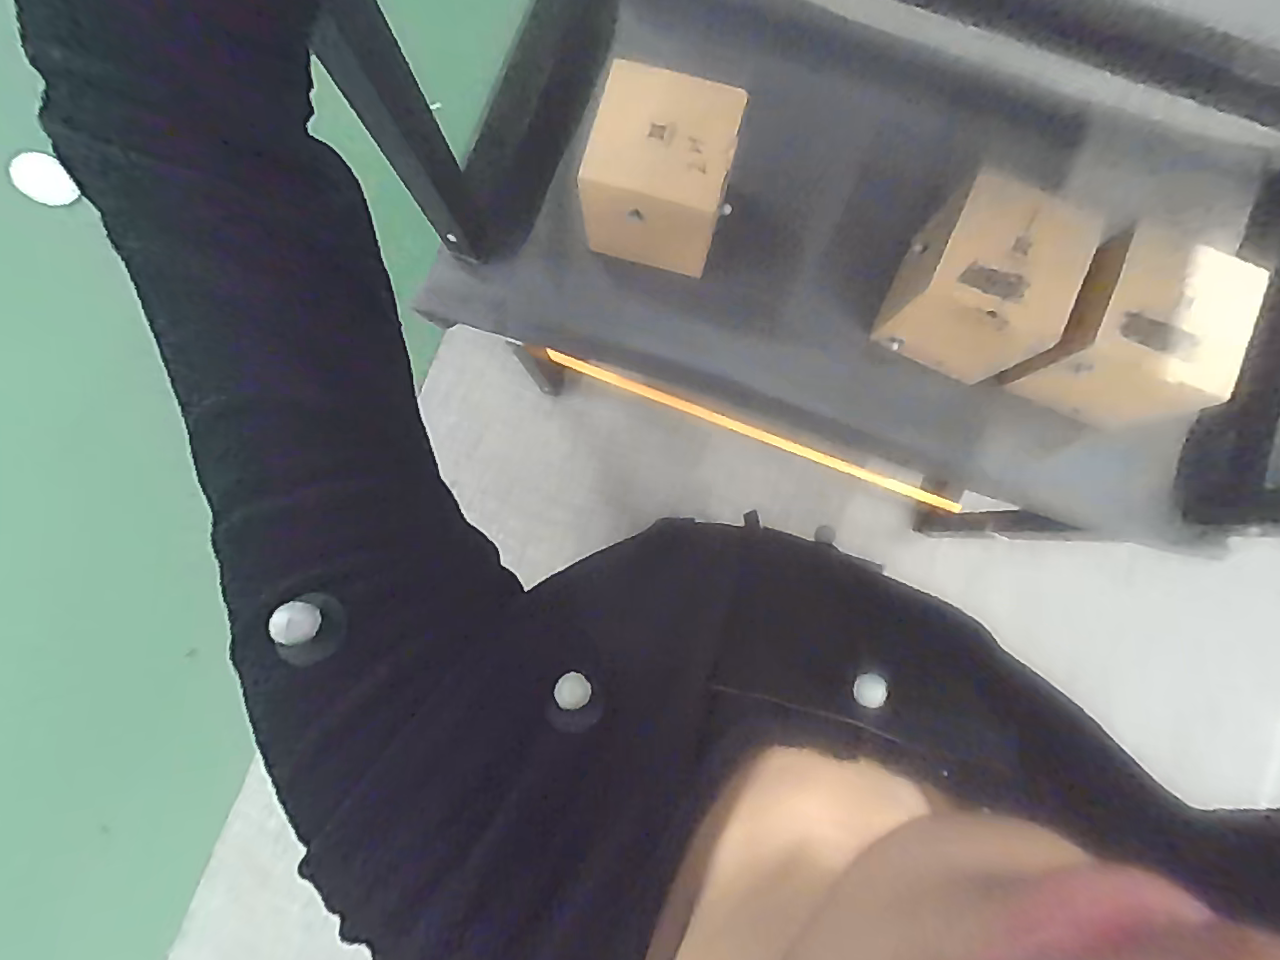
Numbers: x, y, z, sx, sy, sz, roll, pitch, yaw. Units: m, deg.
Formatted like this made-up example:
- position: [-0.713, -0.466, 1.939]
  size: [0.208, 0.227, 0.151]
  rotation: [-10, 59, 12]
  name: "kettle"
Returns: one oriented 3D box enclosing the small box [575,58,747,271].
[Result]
- position: [0.027, -0.413, 0.737]
  size: [0.179, 0.176, 0.168]
  rotation: [16, 85, 1]
  name: "small box"
